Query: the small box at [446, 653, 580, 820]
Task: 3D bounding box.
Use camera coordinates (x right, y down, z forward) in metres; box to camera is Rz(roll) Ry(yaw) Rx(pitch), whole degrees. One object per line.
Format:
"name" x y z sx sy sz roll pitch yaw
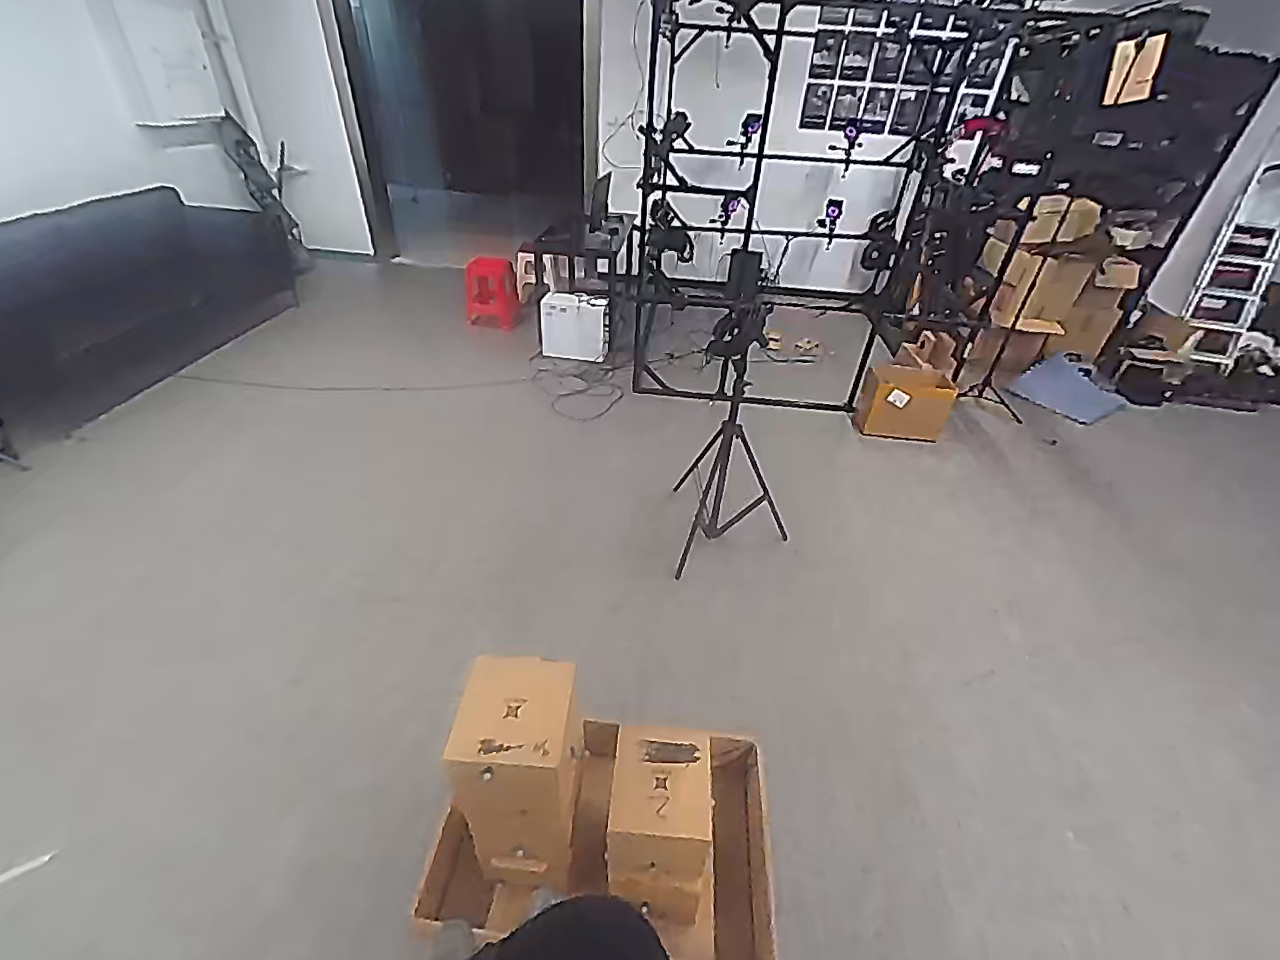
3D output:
"small box" -0.191 0.408 0.867 0.168 0.176 0.179 4 35 2

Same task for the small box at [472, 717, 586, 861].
"small box" -0.190 0.541 0.963 0.168 0.176 0.179 4 37 2

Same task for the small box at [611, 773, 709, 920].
"small box" 0.038 0.702 1.039 0.168 0.176 0.179 6 37 6
